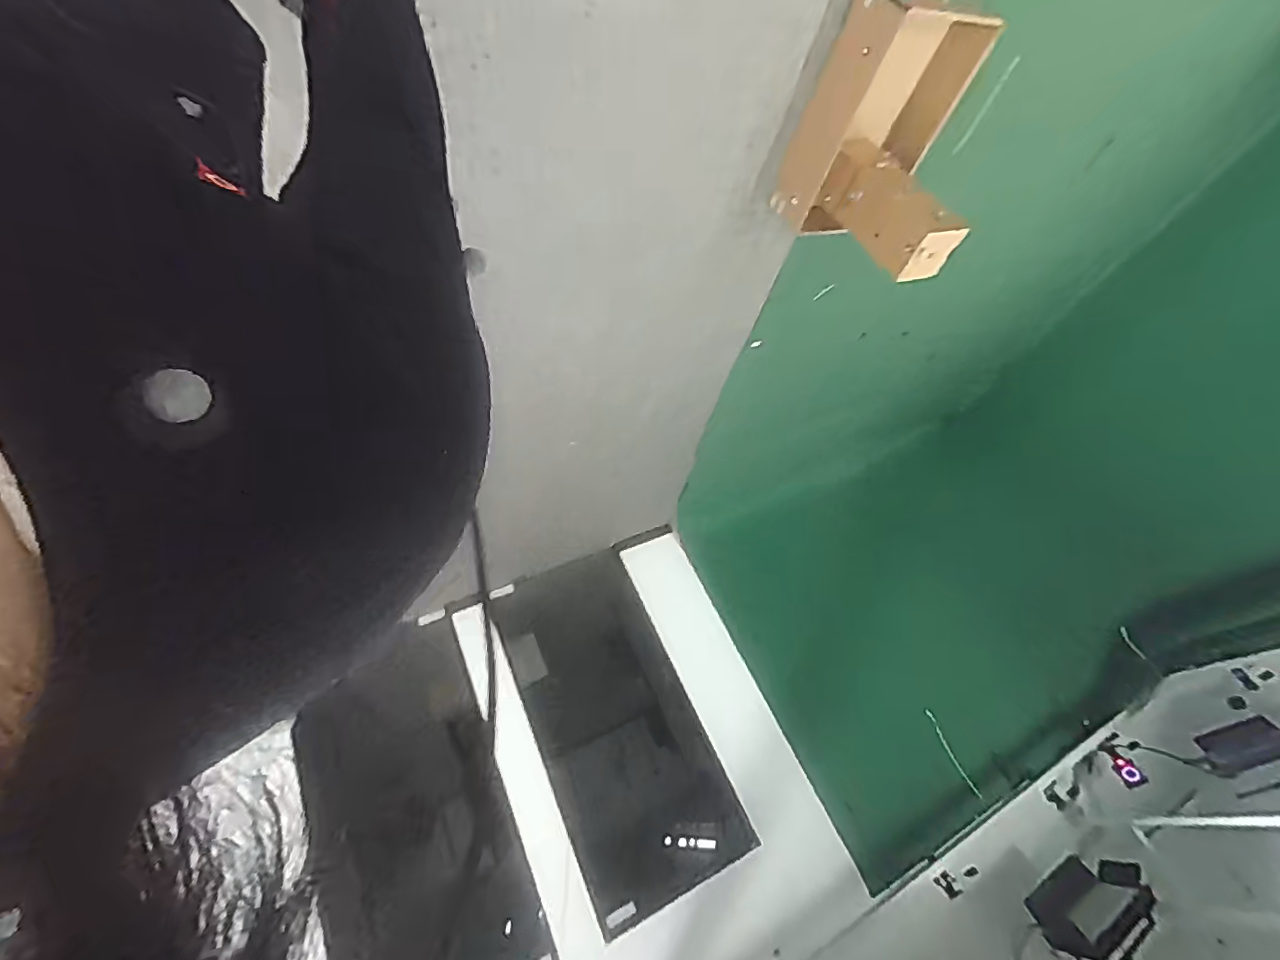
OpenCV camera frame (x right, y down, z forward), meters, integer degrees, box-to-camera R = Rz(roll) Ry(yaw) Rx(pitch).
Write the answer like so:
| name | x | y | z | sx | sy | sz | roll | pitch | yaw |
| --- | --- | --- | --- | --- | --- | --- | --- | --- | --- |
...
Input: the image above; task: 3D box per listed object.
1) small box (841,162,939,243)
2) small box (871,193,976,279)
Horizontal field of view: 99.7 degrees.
| name | x | y | z | sx | sy | sz | roll | pitch | yaw |
| --- | --- | --- | --- | --- | --- | --- | --- | --- | --- |
| small box | 0.770 | -0.862 | 1.680 | 0.179 | 0.176 | 0.168 | -13 | 151 | -24 |
| small box | 0.836 | -0.730 | 1.609 | 0.179 | 0.176 | 0.168 | -17 | 152 | -22 |
